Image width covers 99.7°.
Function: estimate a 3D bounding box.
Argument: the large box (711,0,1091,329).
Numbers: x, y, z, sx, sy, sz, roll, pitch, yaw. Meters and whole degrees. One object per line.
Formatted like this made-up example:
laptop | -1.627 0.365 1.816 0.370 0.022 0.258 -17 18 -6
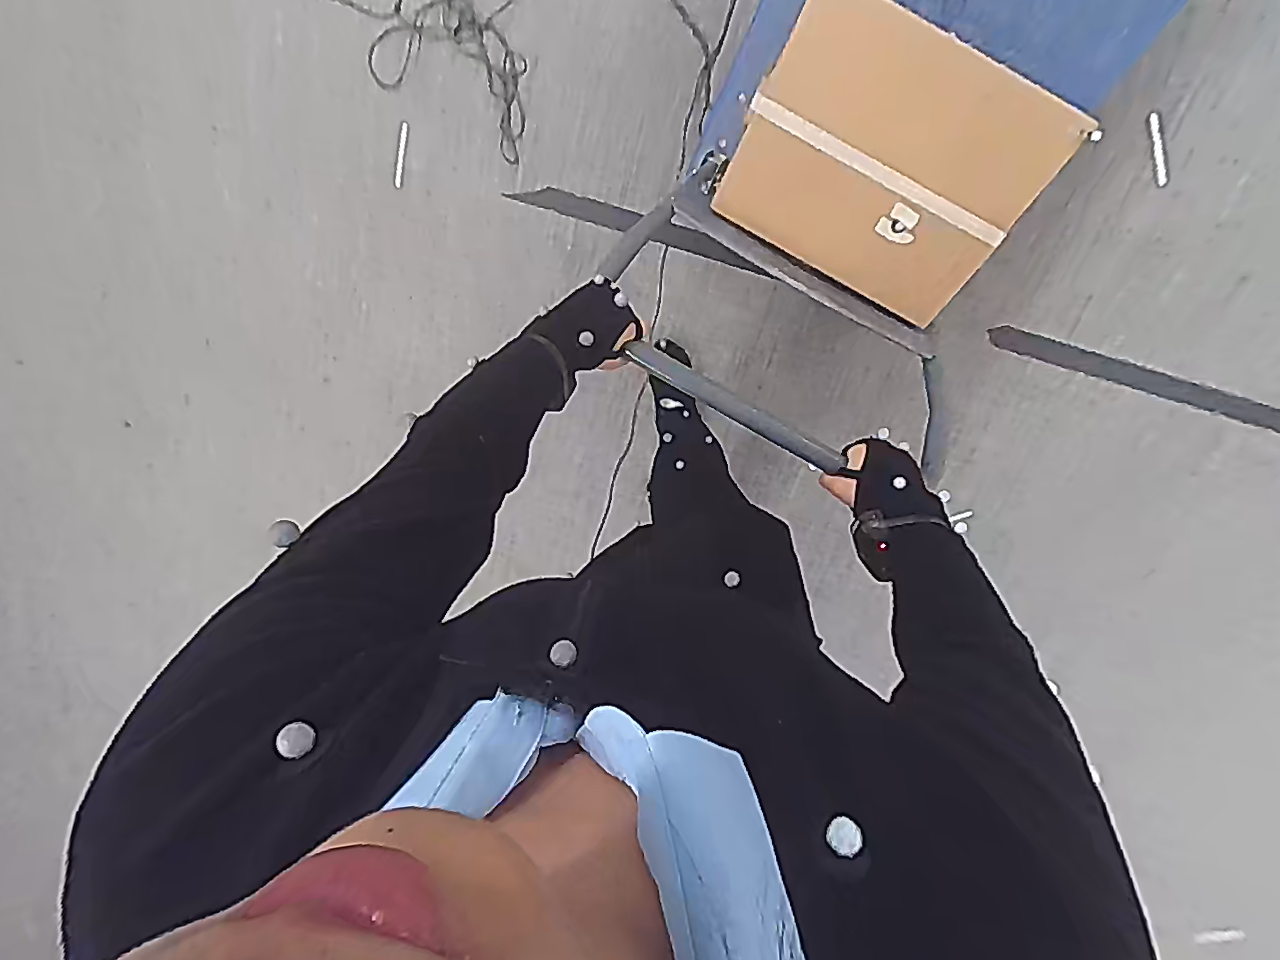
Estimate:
large box | 0.382 -0.521 0.889 0.408 0.320 0.320 28 131 -2
